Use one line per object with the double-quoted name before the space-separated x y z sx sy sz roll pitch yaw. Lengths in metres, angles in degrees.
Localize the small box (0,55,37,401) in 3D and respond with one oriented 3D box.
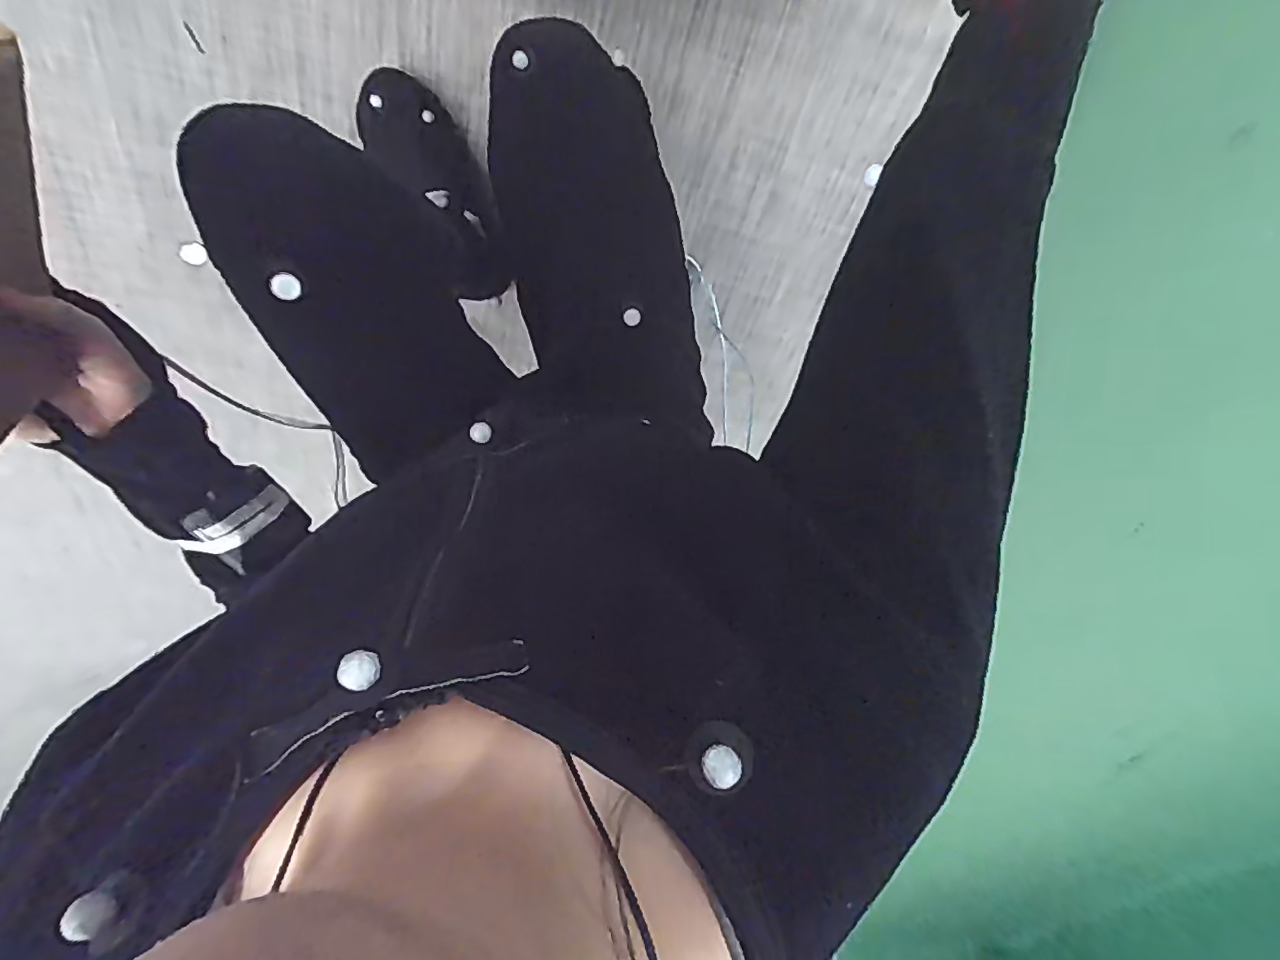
"small box" -0.326 -0.078 0.154 0.168 0.176 0.179 13 129 -33
